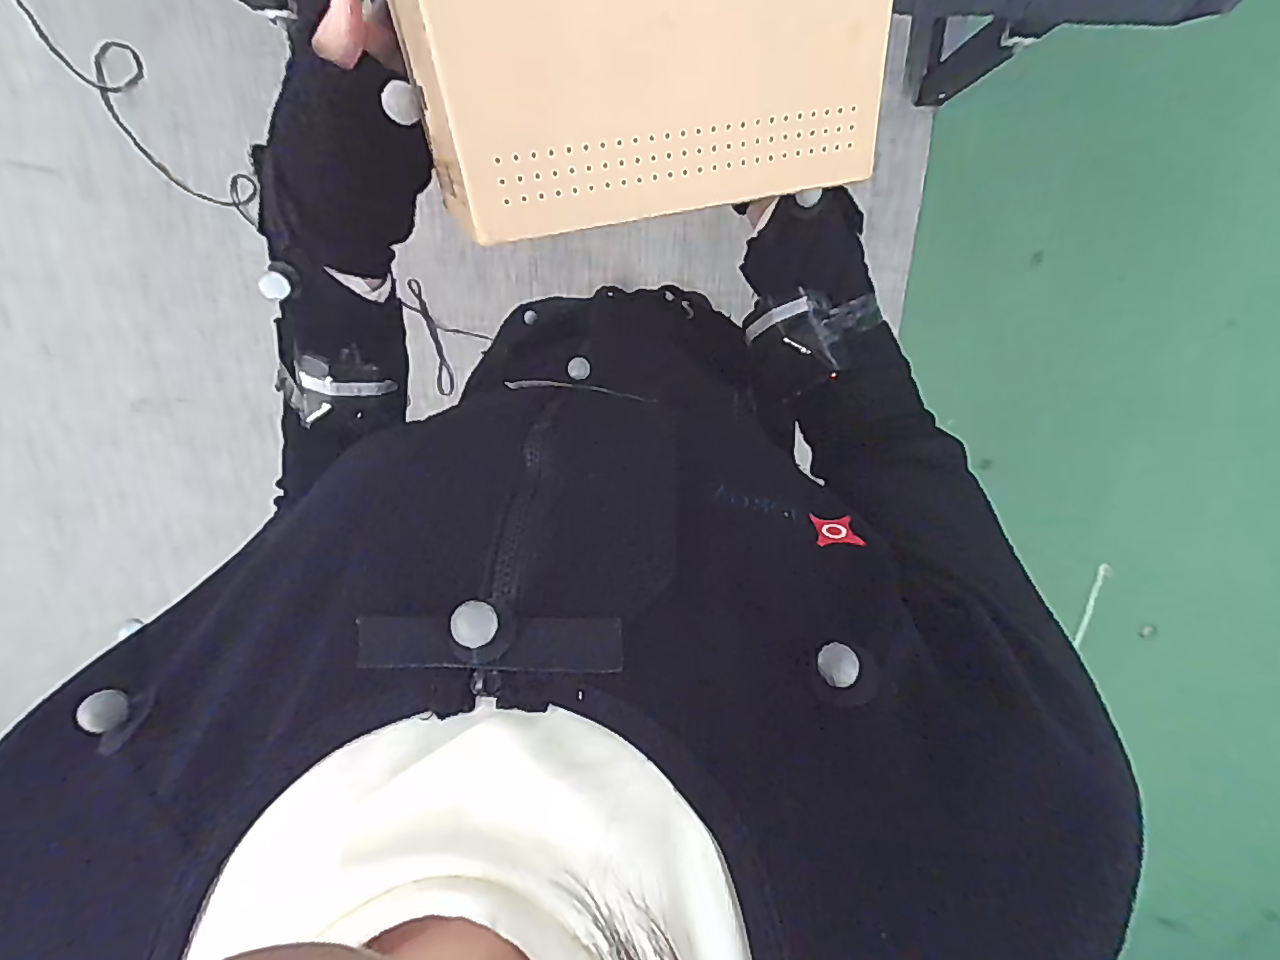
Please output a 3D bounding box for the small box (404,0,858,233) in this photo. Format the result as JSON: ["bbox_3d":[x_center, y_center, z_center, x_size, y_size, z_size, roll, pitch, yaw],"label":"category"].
[{"bbox_3d":[-0.016,-0.226,0.247,0.179,0.168,0.176,-17,124,-13],"label":"small box"}]
